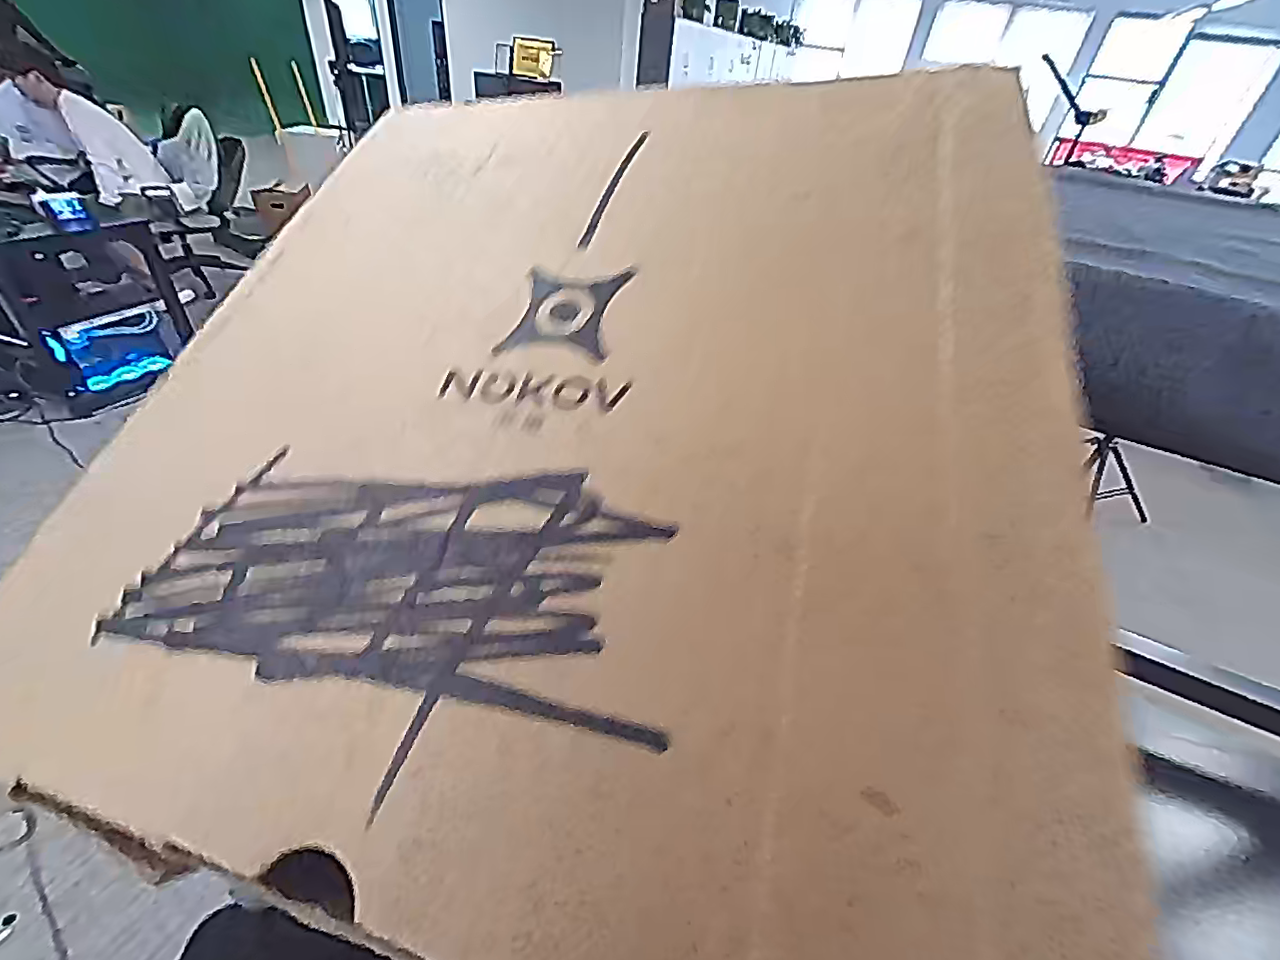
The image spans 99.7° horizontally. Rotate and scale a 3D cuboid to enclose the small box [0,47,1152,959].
[{"bbox_3d":[0.001,0.014,0.167,0.168,0.176,0.179,8,62,17],"label":"small box"}]
